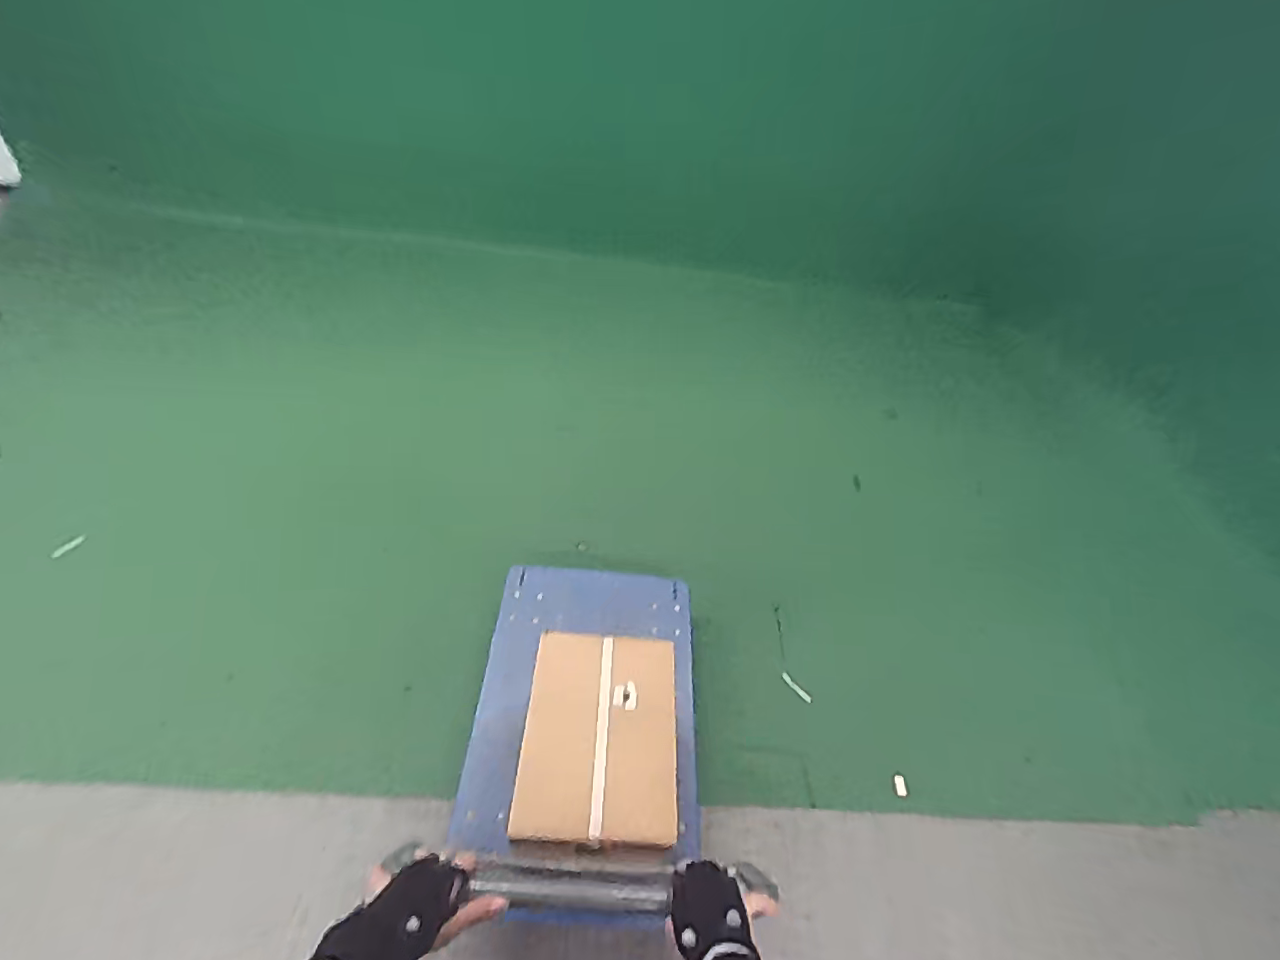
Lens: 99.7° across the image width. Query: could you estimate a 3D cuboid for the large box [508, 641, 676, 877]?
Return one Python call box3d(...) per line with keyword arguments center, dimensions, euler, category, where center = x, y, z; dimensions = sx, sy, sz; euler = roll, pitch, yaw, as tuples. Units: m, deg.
box3d(center=(-0.103, 0.628, 1.221), dimensions=(0.320, 0.320, 0.408), euler=(6, 45, -5), category="large box")
